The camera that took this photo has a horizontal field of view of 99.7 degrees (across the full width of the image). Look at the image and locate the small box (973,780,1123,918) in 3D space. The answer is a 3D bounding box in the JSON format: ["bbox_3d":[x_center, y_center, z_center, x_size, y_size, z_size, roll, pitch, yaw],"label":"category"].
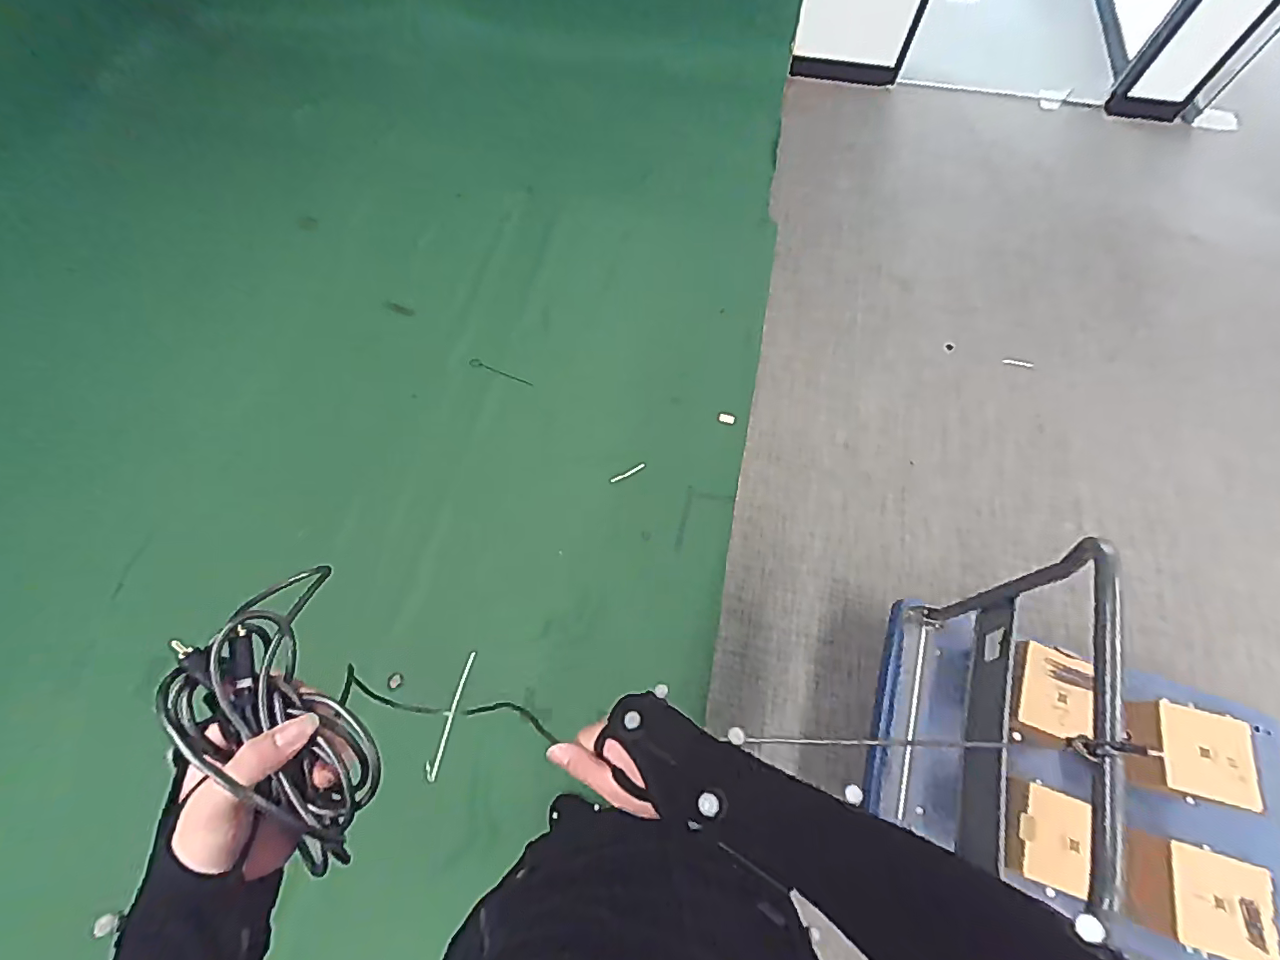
[{"bbox_3d":[0.810,0.722,1.083,0.179,0.176,0.168,18,68,8],"label":"small box"}]

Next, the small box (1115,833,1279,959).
[{"bbox_3d":[1.057,0.807,1.043,0.179,0.176,0.168,16,67,8],"label":"small box"}]

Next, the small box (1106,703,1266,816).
[{"bbox_3d":[1.130,0.581,1.141,0.179,0.176,0.168,14,68,6],"label":"small box"}]
